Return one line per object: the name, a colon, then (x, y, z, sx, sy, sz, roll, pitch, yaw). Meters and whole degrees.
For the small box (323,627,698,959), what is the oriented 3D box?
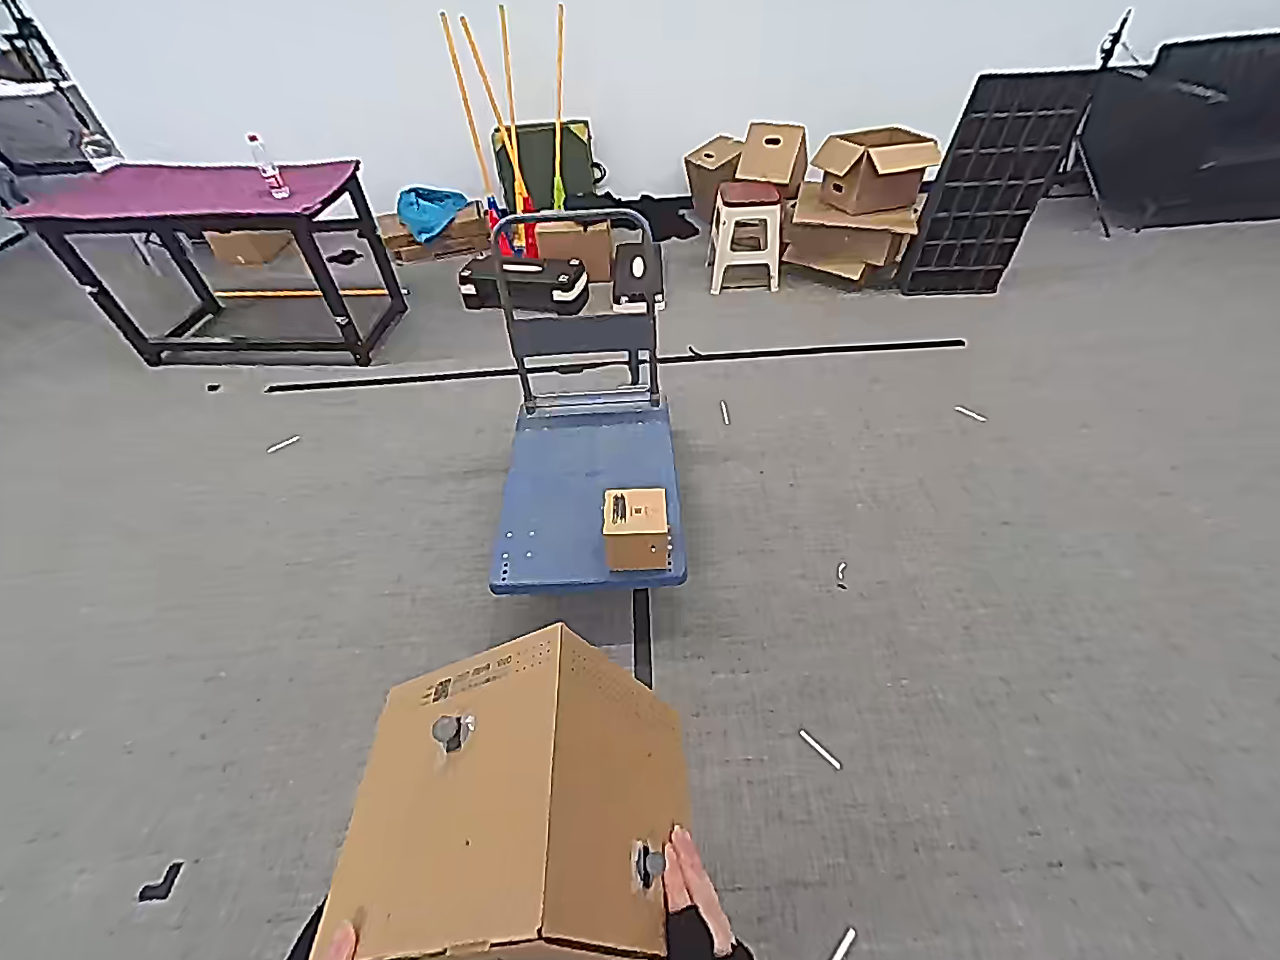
small box: (-0.073, 0.234, 0.393, 0.168, 0.179, 0.176, -25, 39, 19)
